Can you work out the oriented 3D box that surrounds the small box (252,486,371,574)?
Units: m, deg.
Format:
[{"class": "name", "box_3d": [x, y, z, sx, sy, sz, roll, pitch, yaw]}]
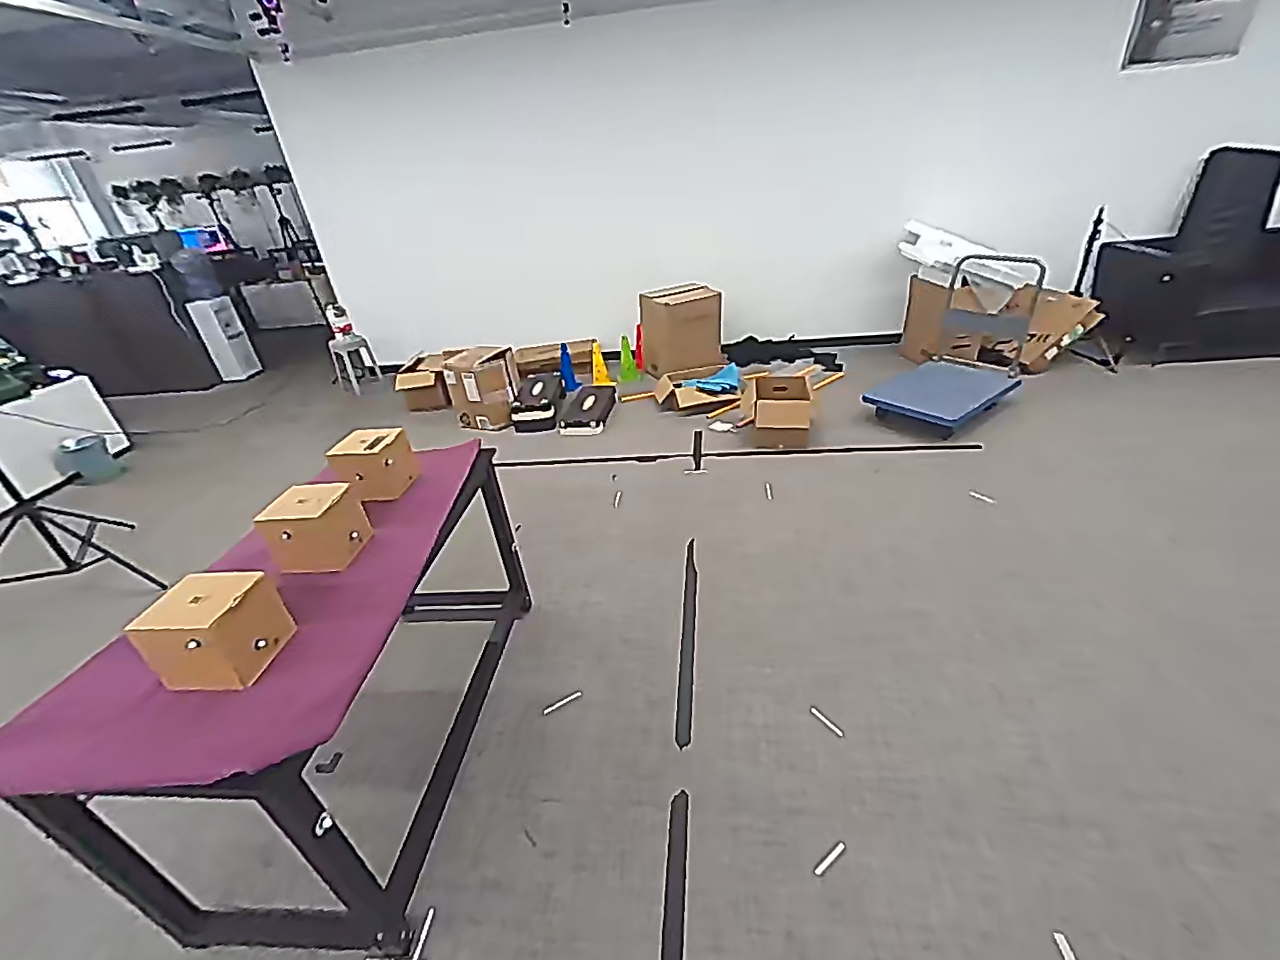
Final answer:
[{"class": "small box", "box_3d": [-0.845, 0.131, 1.409, 0.179, 0.176, 0.168, -3, 31, 6]}]

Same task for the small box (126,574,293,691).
[{"class": "small box", "box_3d": [-0.864, 0.312, 1.106, 0.179, 0.176, 0.168, -2, 30, 5]}]
